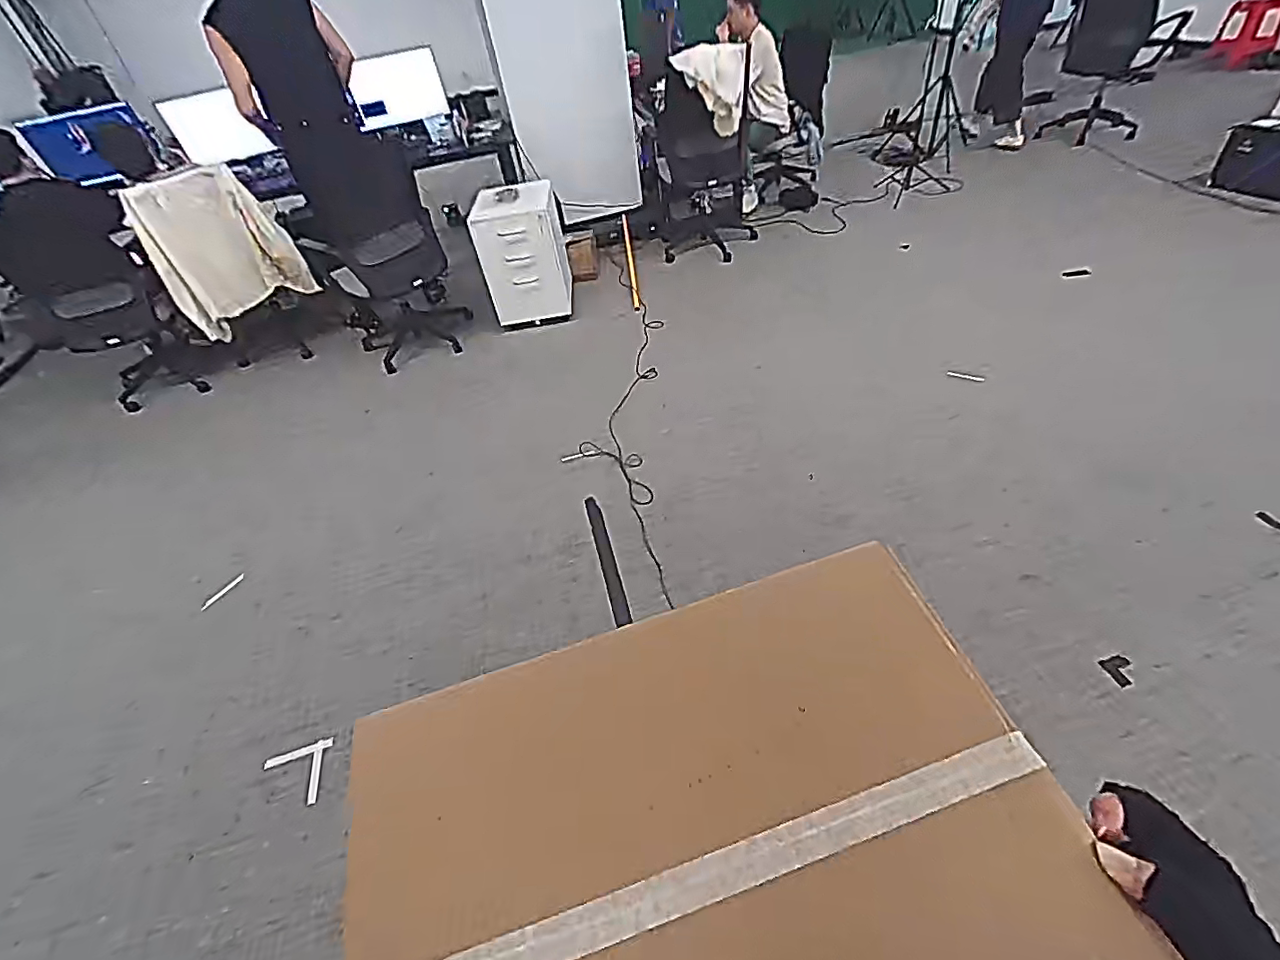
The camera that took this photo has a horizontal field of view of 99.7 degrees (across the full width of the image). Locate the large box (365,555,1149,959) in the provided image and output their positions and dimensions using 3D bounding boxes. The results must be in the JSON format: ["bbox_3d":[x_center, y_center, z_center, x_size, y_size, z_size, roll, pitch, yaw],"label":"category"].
[{"bbox_3d":[0.058,0.319,0.428,0.408,0.320,0.320,-18,51,-5],"label":"large box"}]
